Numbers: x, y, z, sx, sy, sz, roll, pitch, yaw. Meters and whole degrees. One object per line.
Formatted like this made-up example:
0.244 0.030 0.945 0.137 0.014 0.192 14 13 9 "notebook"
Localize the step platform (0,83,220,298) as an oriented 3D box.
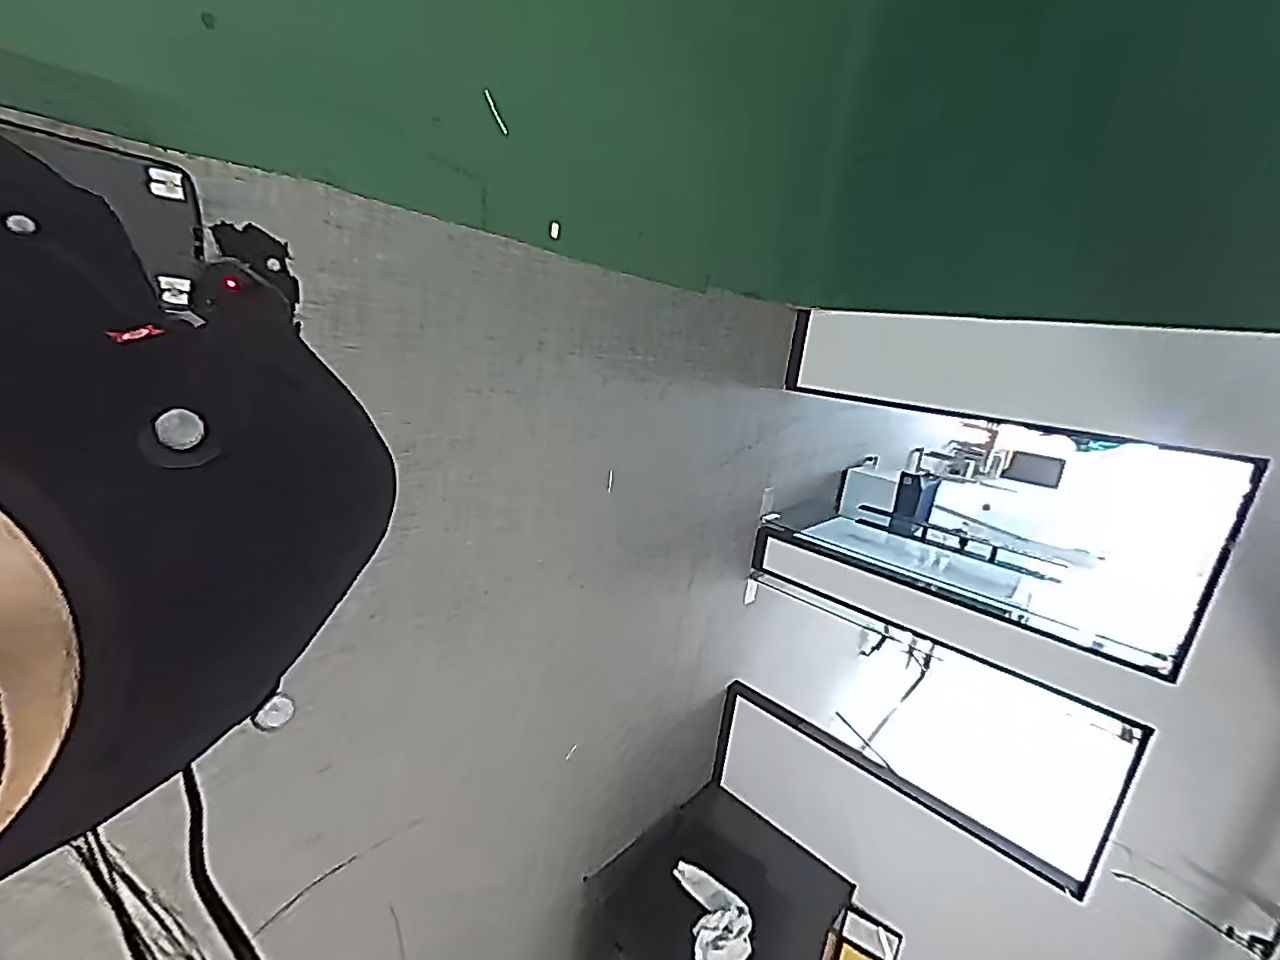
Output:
-1.023 -0.444 0.745 0.684 0.204 0.286 -8 112 -47 "step platform"
